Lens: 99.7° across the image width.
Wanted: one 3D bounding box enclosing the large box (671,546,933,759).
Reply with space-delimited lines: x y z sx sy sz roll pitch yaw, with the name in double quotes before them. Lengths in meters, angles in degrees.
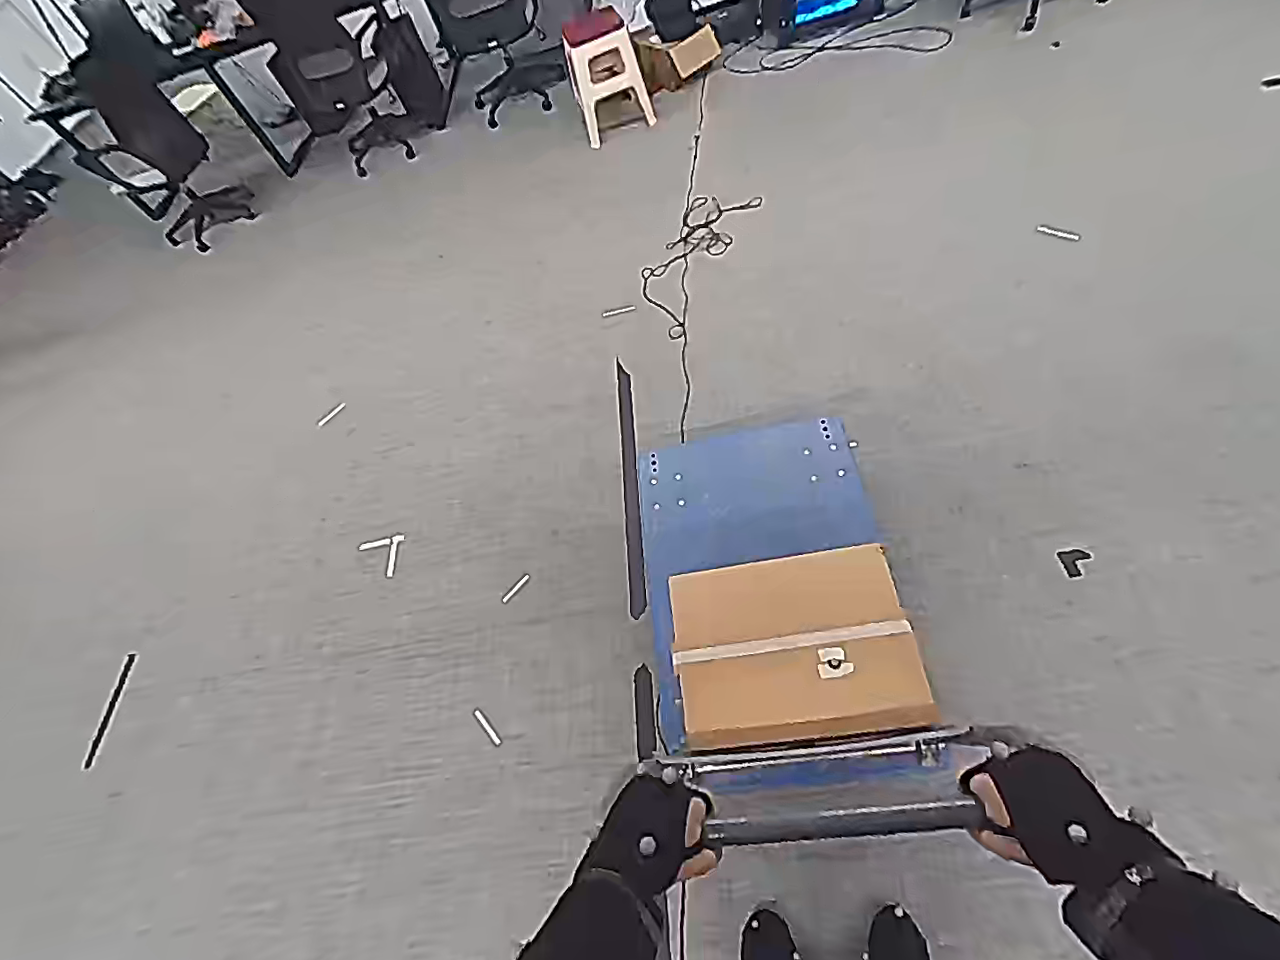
"large box" 0.299 0.365 1.097 0.408 0.320 0.320 -11 60 8
